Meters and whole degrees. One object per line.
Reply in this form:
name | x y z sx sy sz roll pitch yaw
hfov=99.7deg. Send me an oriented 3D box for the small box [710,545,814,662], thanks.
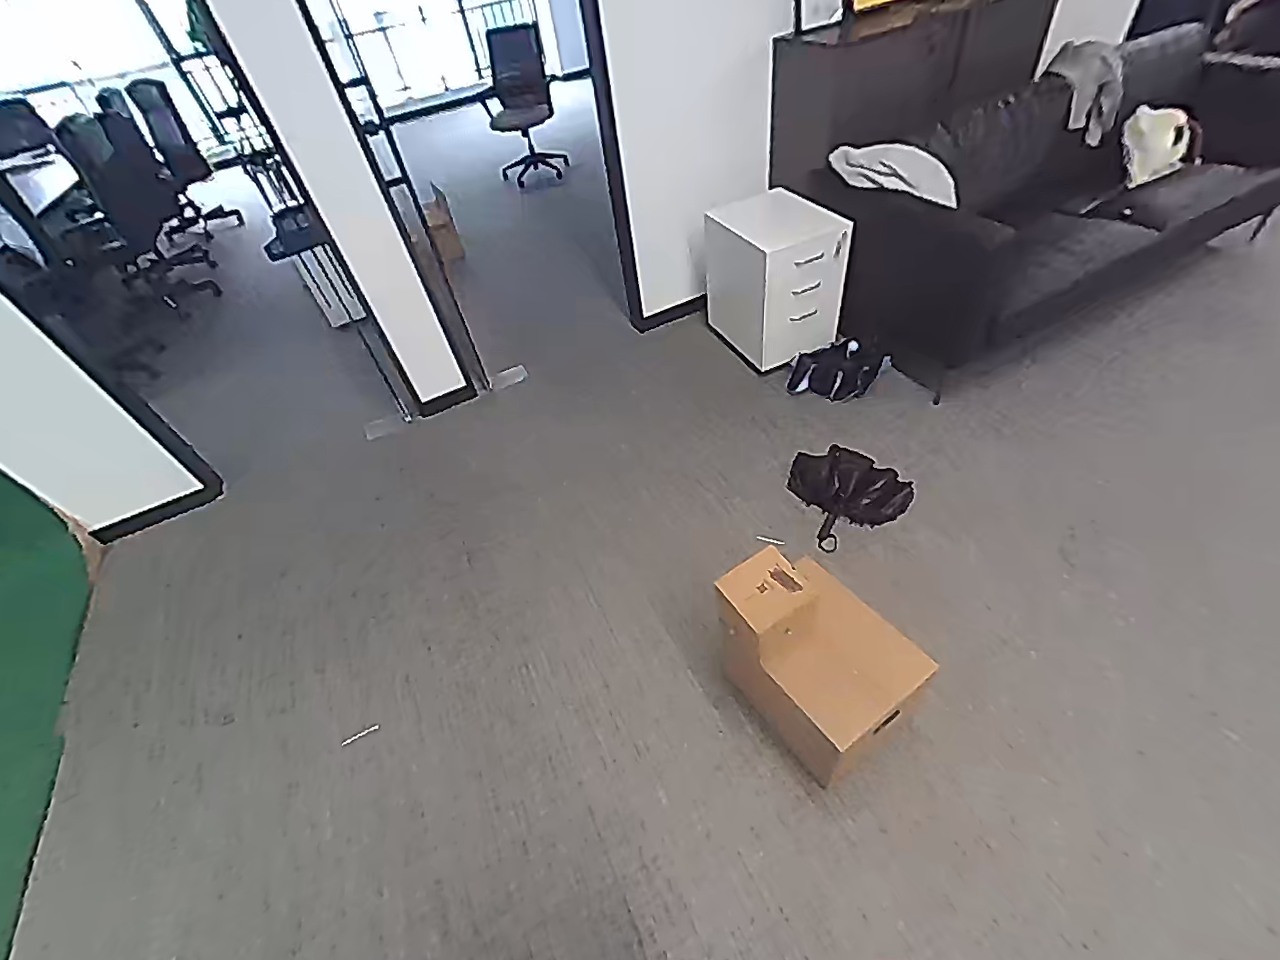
small box | 0.284 0.292 1.275 0.179 0.176 0.168 -30 49 -13
